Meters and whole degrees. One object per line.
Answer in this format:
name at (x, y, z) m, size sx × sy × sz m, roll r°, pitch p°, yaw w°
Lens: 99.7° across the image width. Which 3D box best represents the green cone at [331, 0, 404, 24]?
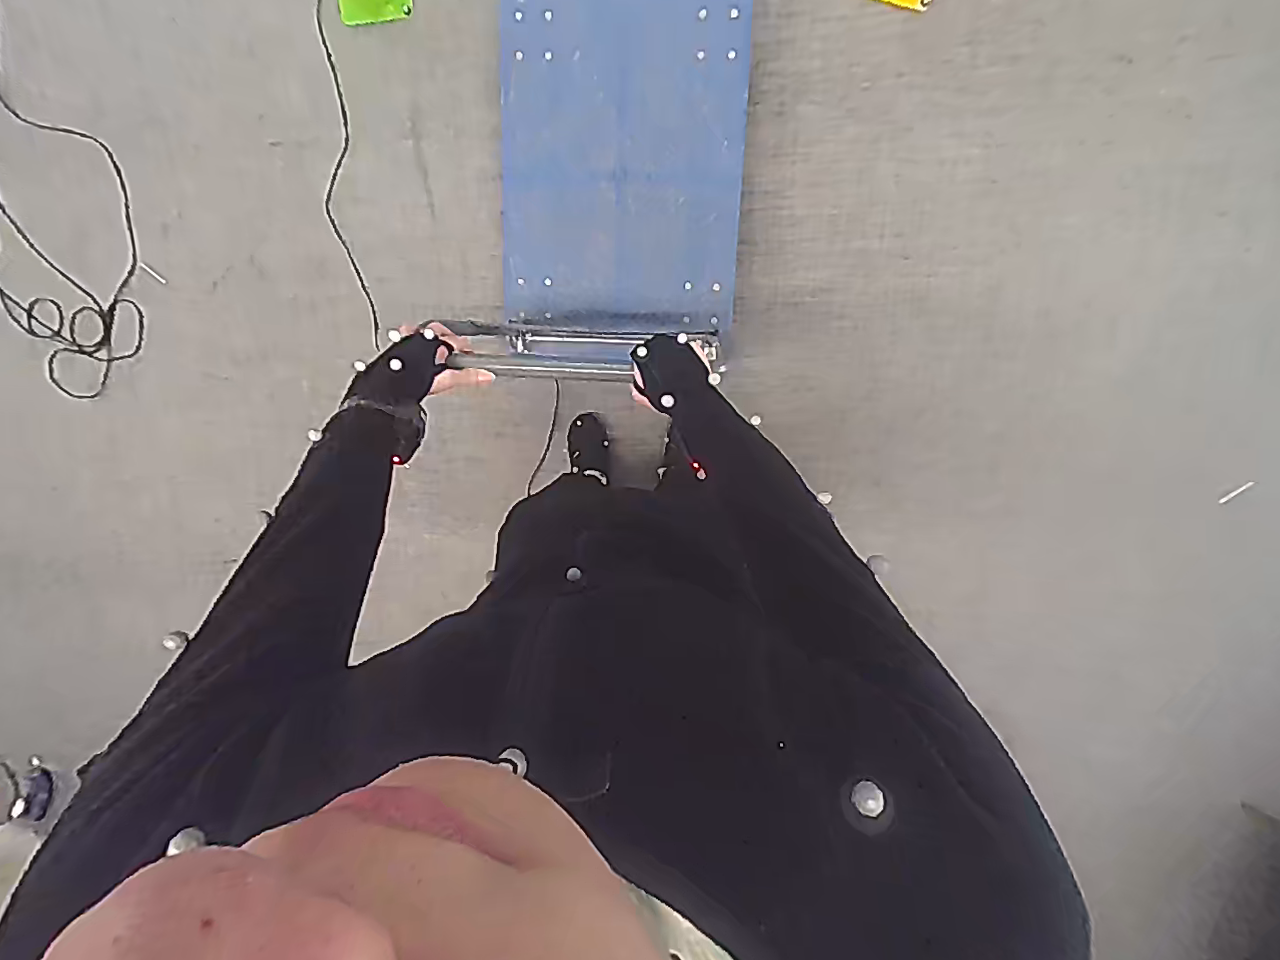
green cone at (-0.729, -1.261, 1.218) m, size 0.202 × 0.368 × 0.200 m, roll -3°, pitch 101°, yaw 8°
